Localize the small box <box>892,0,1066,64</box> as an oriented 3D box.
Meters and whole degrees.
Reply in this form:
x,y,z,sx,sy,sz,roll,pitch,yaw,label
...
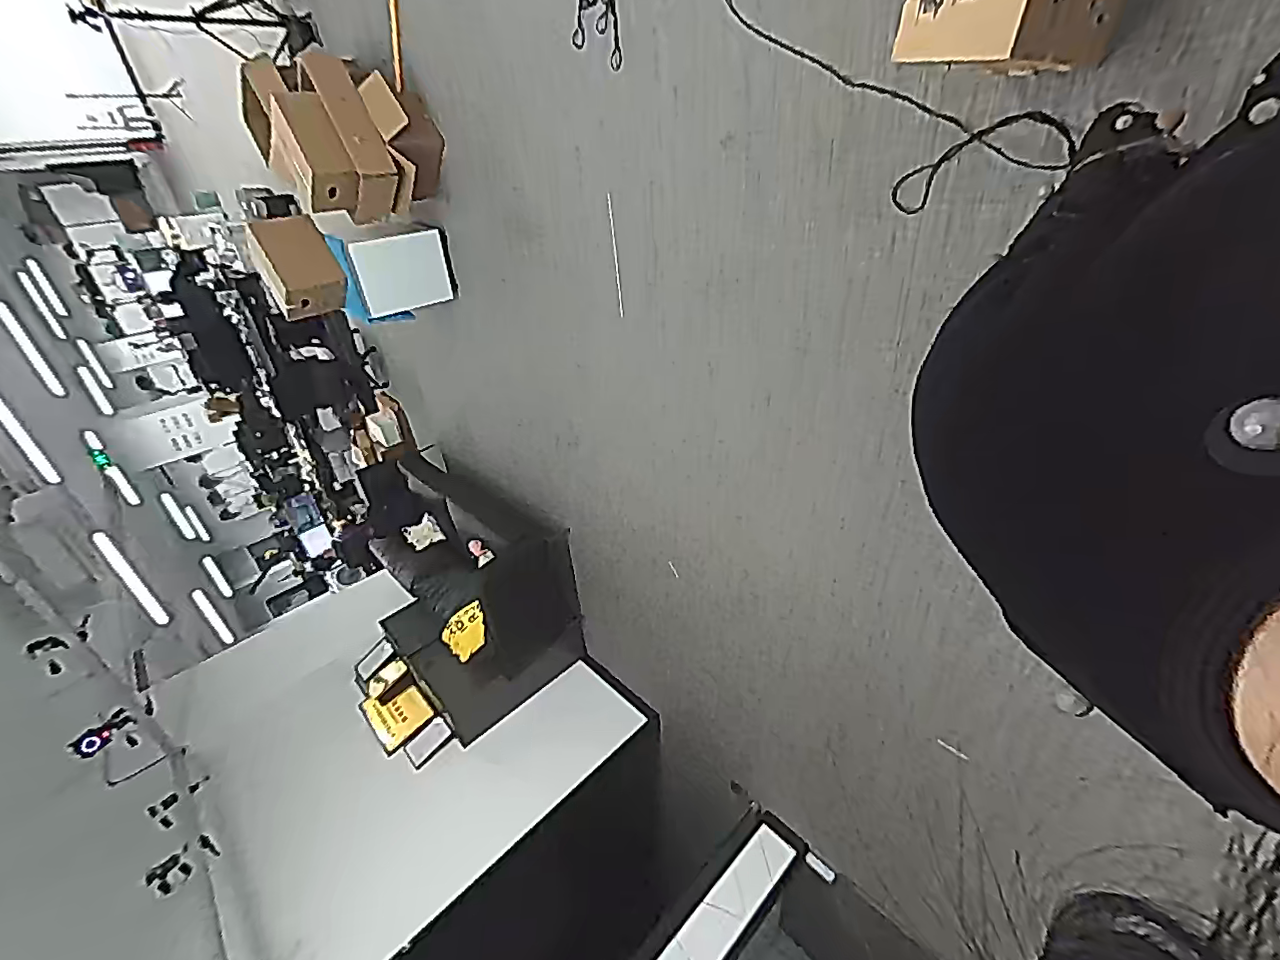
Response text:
x,y,z,sx,sy,sz,roll,pitch,yaw,label
0.515,-0.724,0.802,0.179,0.176,0.168,31,137,35,small box

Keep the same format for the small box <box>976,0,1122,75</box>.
x,y,z,sx,sy,sz,roll,pitch,yaw,label
0.756,-0.854,0.985,0.168,0.176,0.179,30,137,37,small box
